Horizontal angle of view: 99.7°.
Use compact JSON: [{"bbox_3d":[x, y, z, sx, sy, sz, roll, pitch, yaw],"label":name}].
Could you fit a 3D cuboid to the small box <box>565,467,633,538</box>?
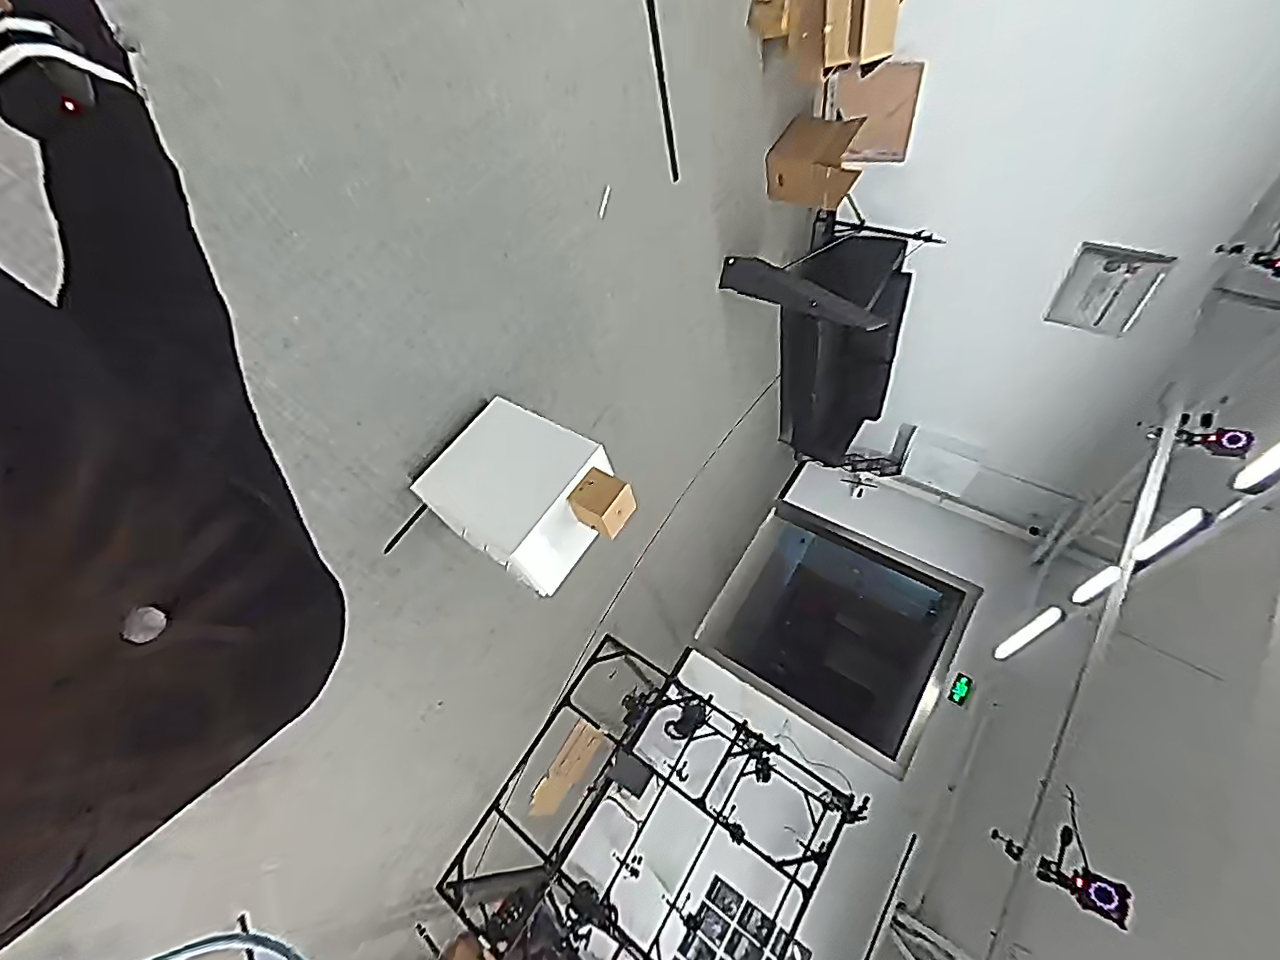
[{"bbox_3d":[-0.150,0.080,1.992,0.168,0.176,0.179,-53,153,-22],"label":"small box"}]
